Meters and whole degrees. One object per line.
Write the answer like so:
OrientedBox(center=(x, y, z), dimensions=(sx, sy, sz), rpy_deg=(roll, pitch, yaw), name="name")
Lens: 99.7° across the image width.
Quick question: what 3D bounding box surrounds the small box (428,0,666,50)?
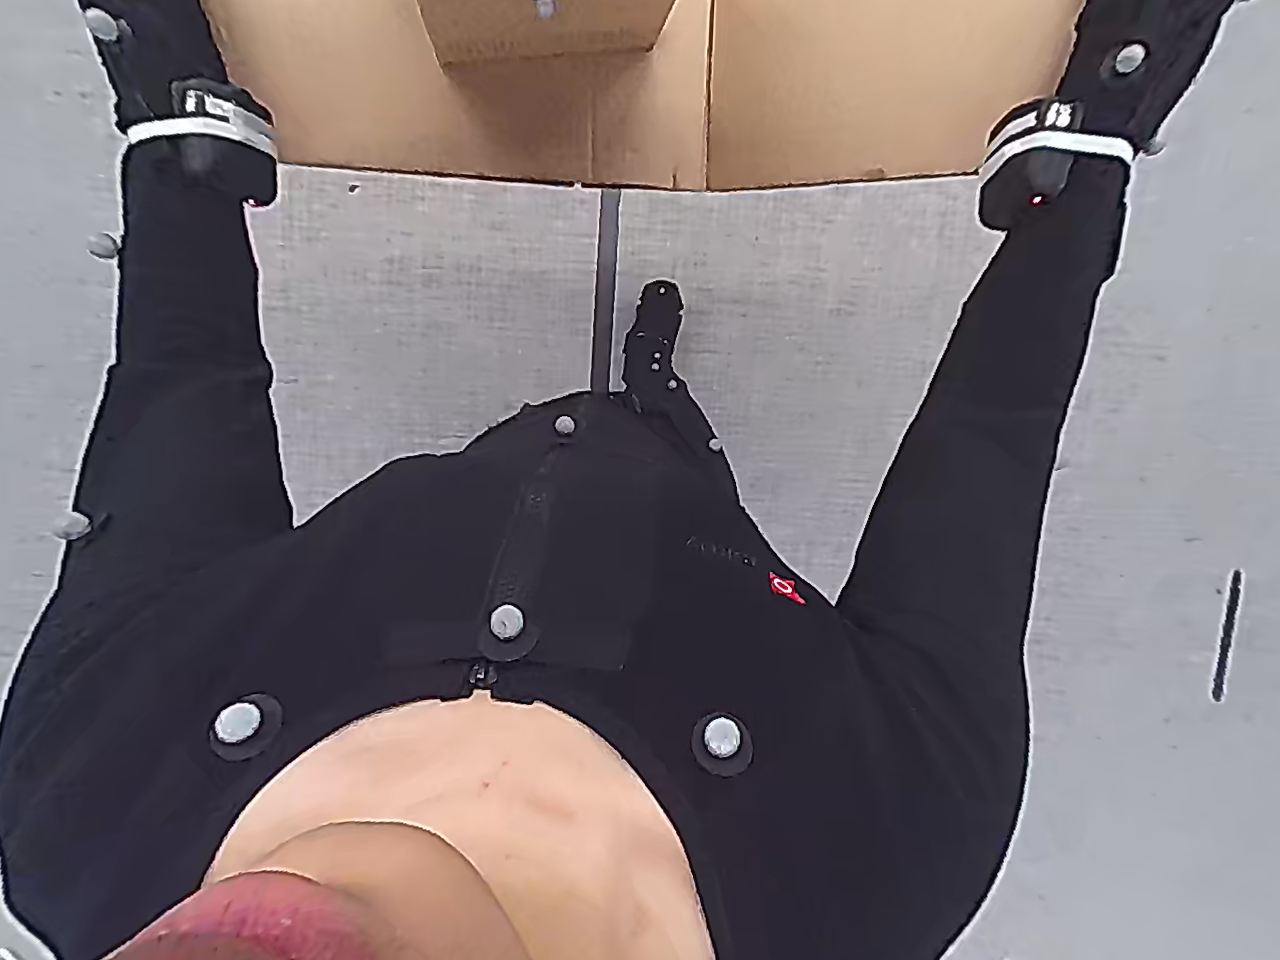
OrientedBox(center=(-0.063, -0.400, 0.331), dimensions=(0.179, 0.176, 0.168), rpy_deg=(-11, 108, -7), name="small box")
